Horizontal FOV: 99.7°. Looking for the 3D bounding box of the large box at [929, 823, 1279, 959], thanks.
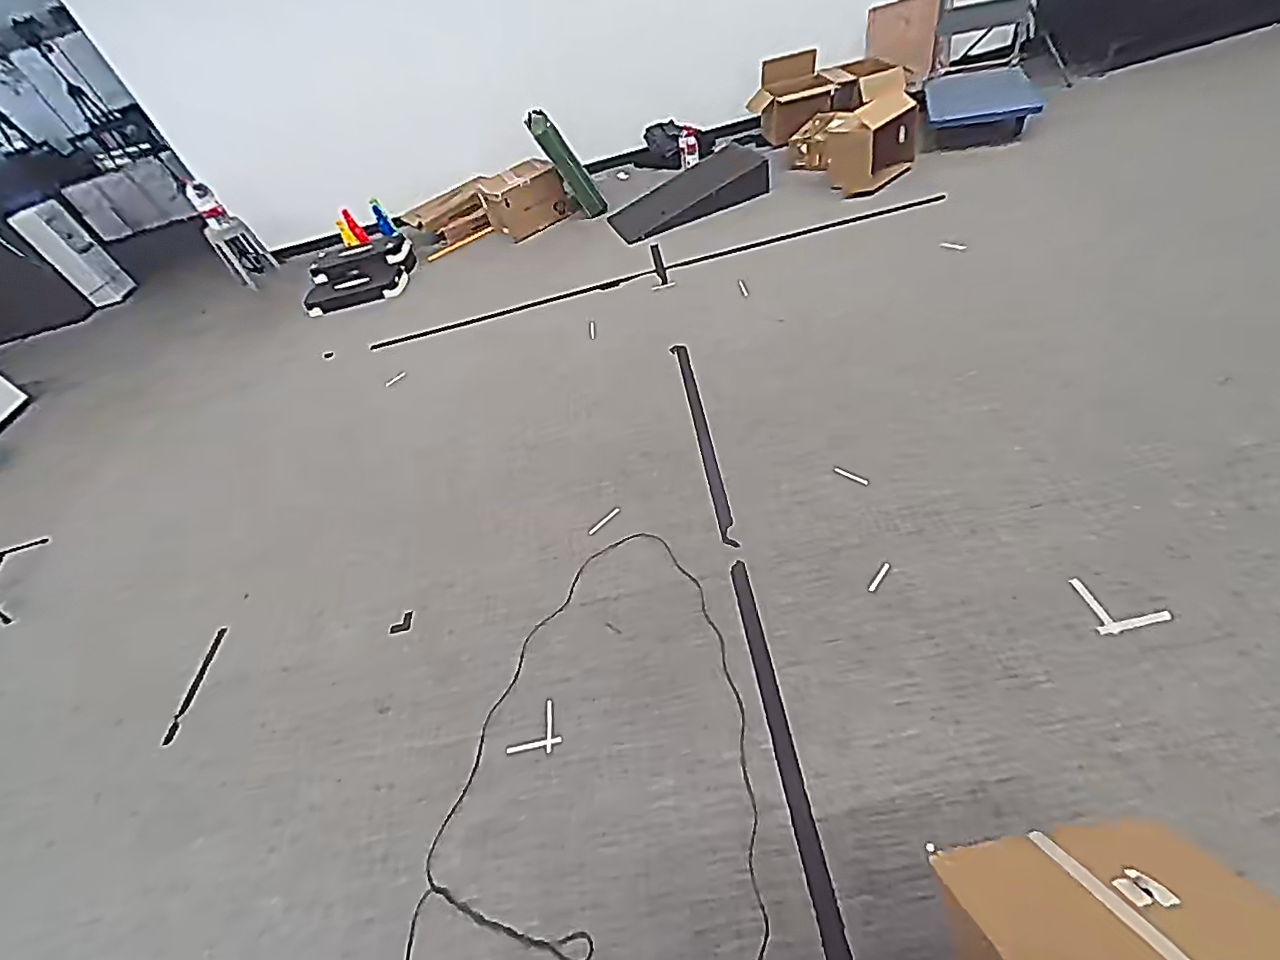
[{"bbox_3d":[0.601,0.668,0.585,0.320,0.408,0.320,-12,86,1],"label":"large box"}]
